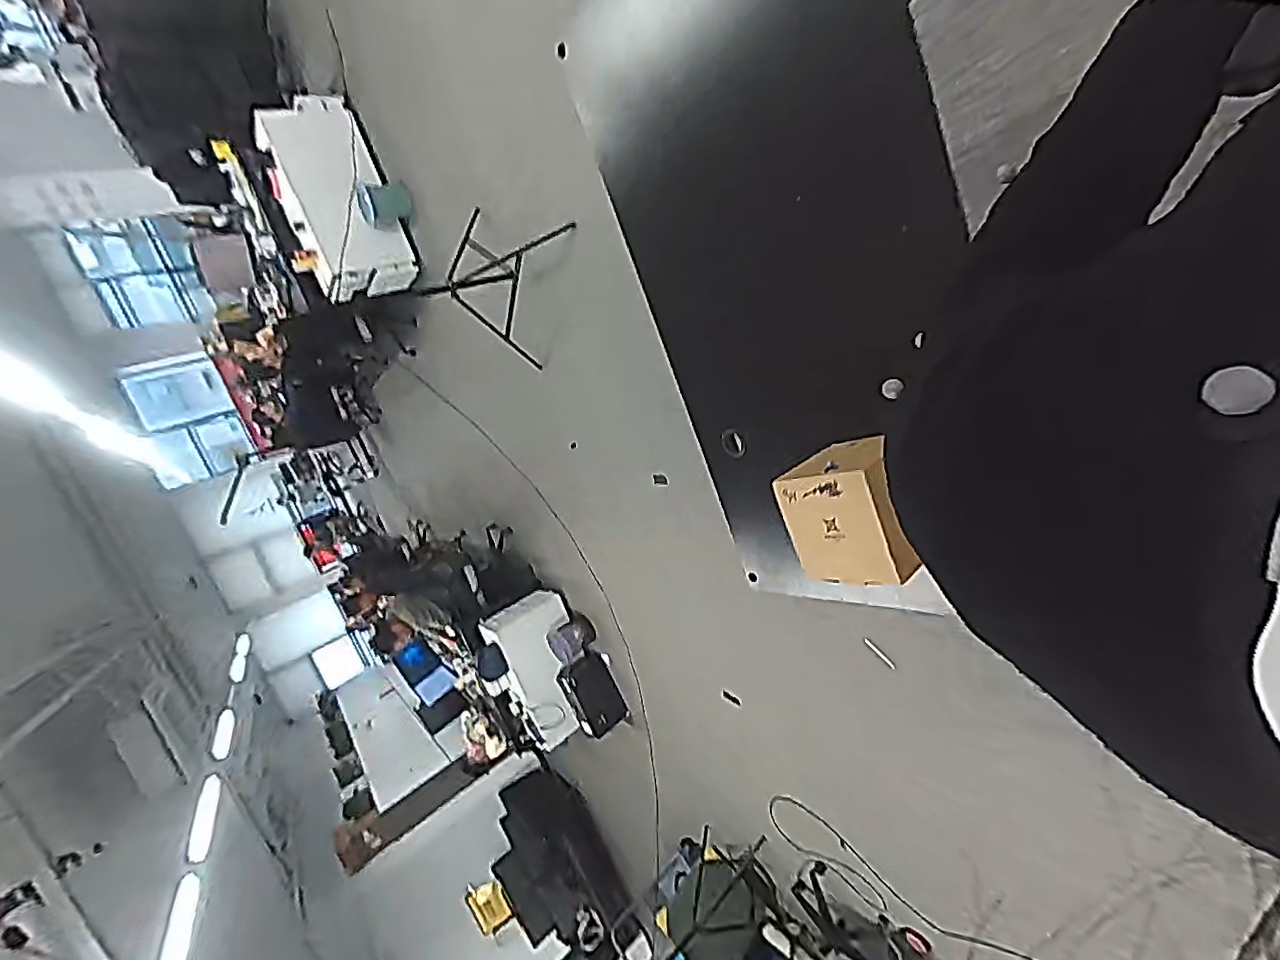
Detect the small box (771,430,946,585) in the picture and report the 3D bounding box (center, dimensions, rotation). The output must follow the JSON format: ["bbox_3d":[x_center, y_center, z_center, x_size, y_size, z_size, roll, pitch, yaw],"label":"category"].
[{"bbox_3d":[0.344,0.042,0.844,0.168,0.176,0.179,-11,104,56],"label":"small box"}]
